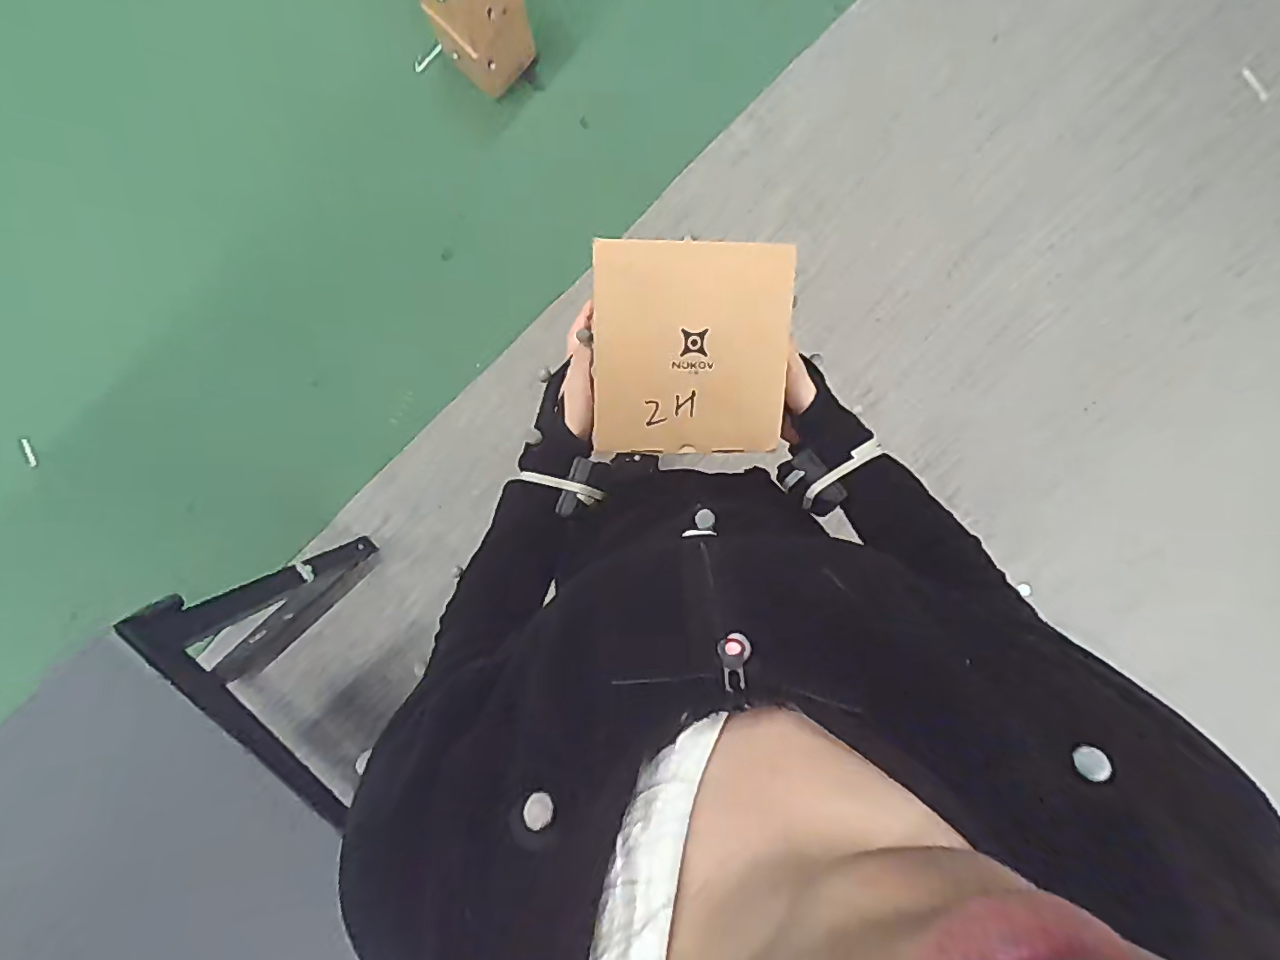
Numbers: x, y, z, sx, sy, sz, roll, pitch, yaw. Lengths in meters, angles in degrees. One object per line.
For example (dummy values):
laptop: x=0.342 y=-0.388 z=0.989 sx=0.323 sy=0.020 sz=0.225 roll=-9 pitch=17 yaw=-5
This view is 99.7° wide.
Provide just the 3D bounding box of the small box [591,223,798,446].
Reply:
small box: x=0.037 y=-0.136 z=0.523 sx=0.168 sy=0.176 sz=0.179 roll=1 pitch=107 yaw=-4

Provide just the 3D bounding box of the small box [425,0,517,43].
small box: x=-0.382 y=-1.086 z=1.132 sx=0.179 sy=0.176 sz=0.168 roll=42 pitch=93 yaw=-5
